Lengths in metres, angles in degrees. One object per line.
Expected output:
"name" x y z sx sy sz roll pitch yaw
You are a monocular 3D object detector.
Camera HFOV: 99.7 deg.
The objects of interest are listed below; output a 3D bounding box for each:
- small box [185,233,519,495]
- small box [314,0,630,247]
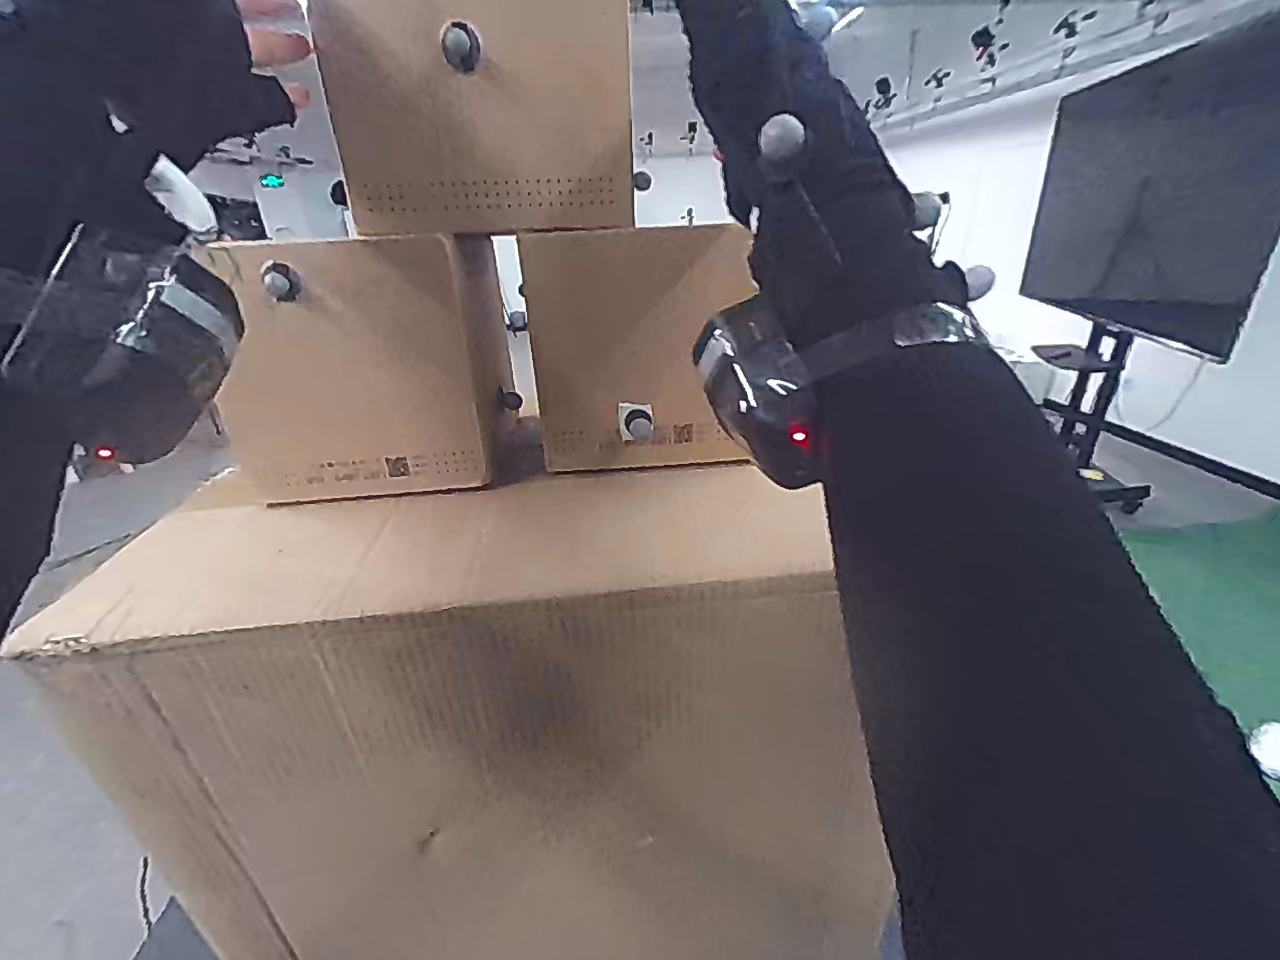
"small box" -0.197 -0.100 0.435 0.168 0.176 0.179 -5 23 -3
"small box" -0.099 -0.262 0.390 0.179 0.176 0.168 -5 23 -5
